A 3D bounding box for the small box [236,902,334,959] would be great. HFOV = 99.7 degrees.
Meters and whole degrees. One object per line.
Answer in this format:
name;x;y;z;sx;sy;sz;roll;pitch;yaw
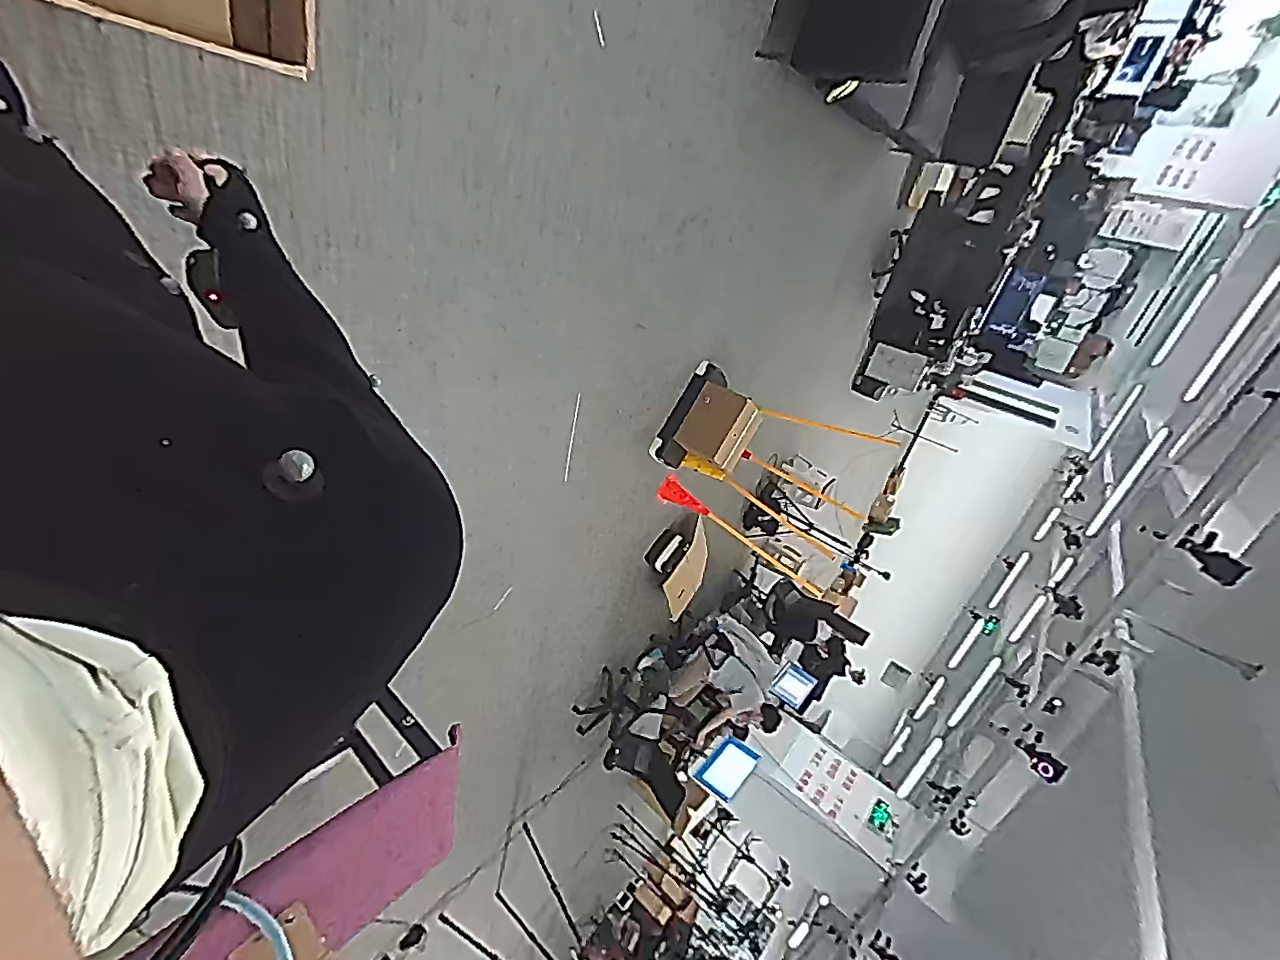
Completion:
small box;-0.914;1.252;1.402;0.168;0.176;0.179;-24;136;-47
